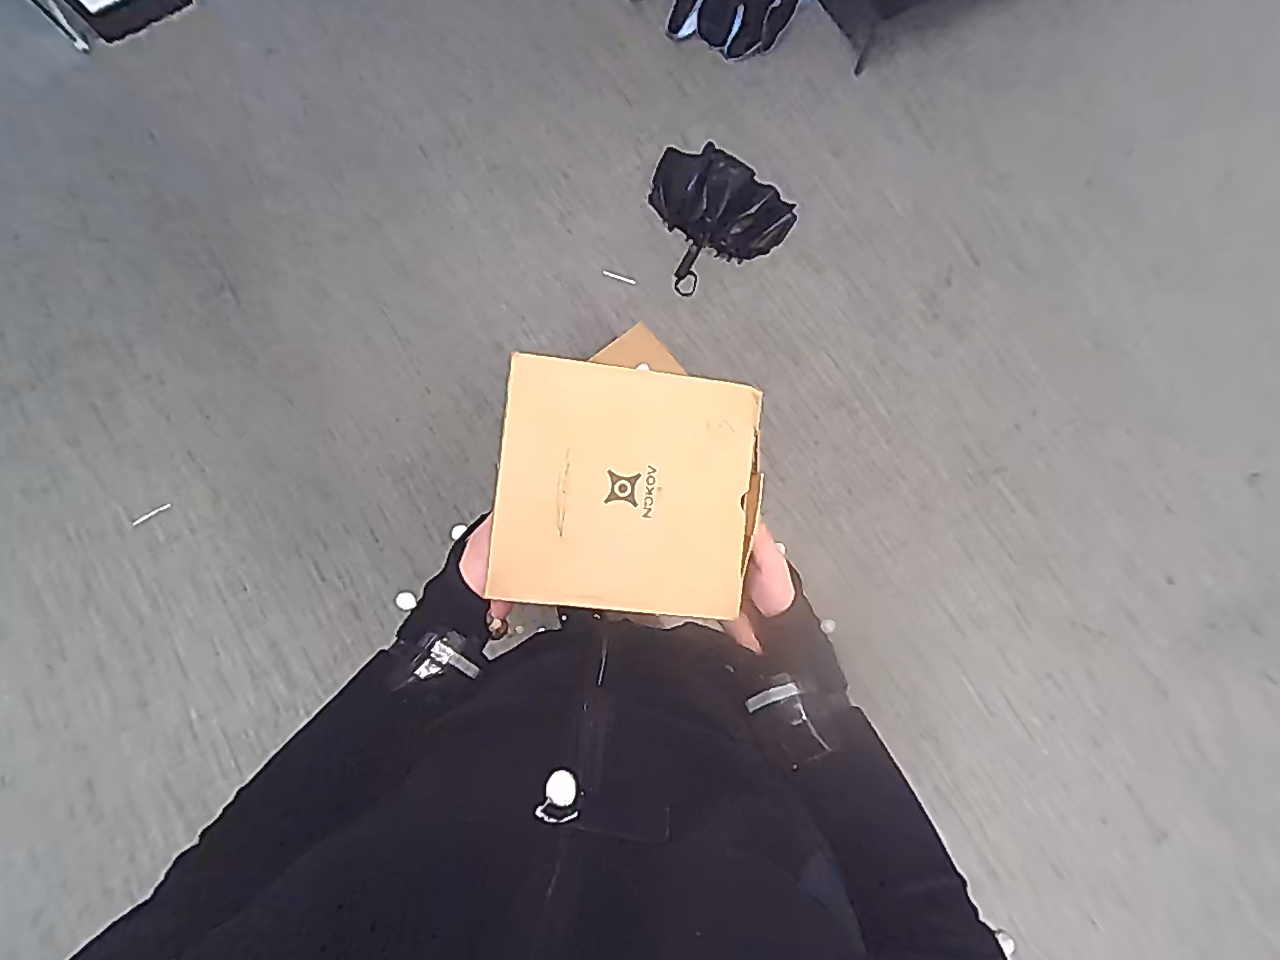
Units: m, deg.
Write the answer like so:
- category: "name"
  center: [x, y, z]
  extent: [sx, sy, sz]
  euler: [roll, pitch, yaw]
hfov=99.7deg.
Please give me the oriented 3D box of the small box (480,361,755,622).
- category: "small box"
  center: [-0.021, 0.013, 0.448]
  extent: [0.179, 0.176, 0.168]
  euler: [6, 86, -6]
